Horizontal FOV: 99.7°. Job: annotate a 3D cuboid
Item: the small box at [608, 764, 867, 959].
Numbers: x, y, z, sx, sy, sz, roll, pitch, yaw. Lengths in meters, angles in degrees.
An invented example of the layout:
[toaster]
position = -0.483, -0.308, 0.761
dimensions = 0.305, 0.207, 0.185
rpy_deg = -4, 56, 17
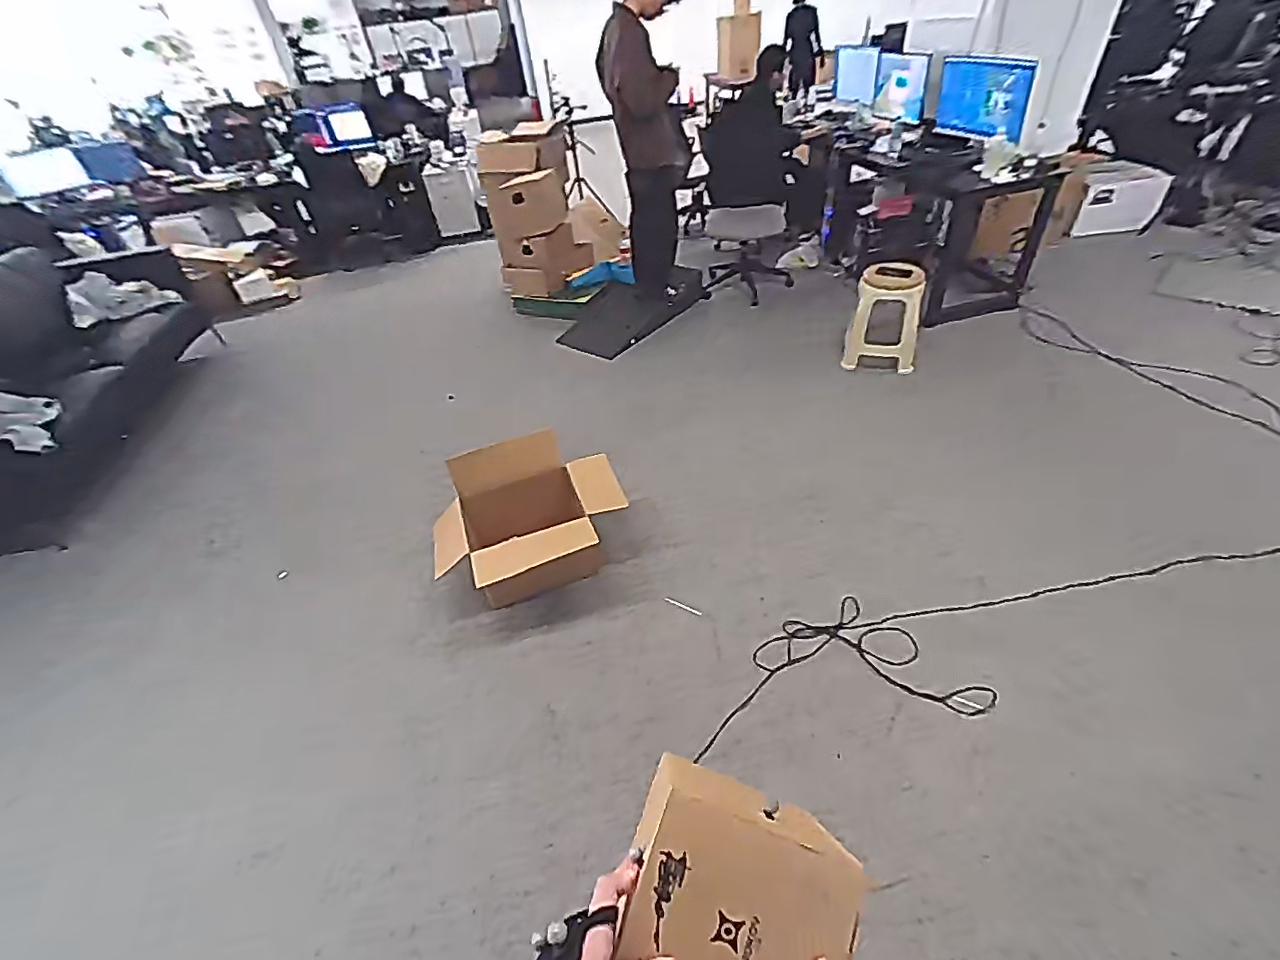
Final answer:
[small box]
position = 0.080, 0.392, 0.511
dimensions = 0.179, 0.176, 0.168
rpy_deg = 20, 72, 6
